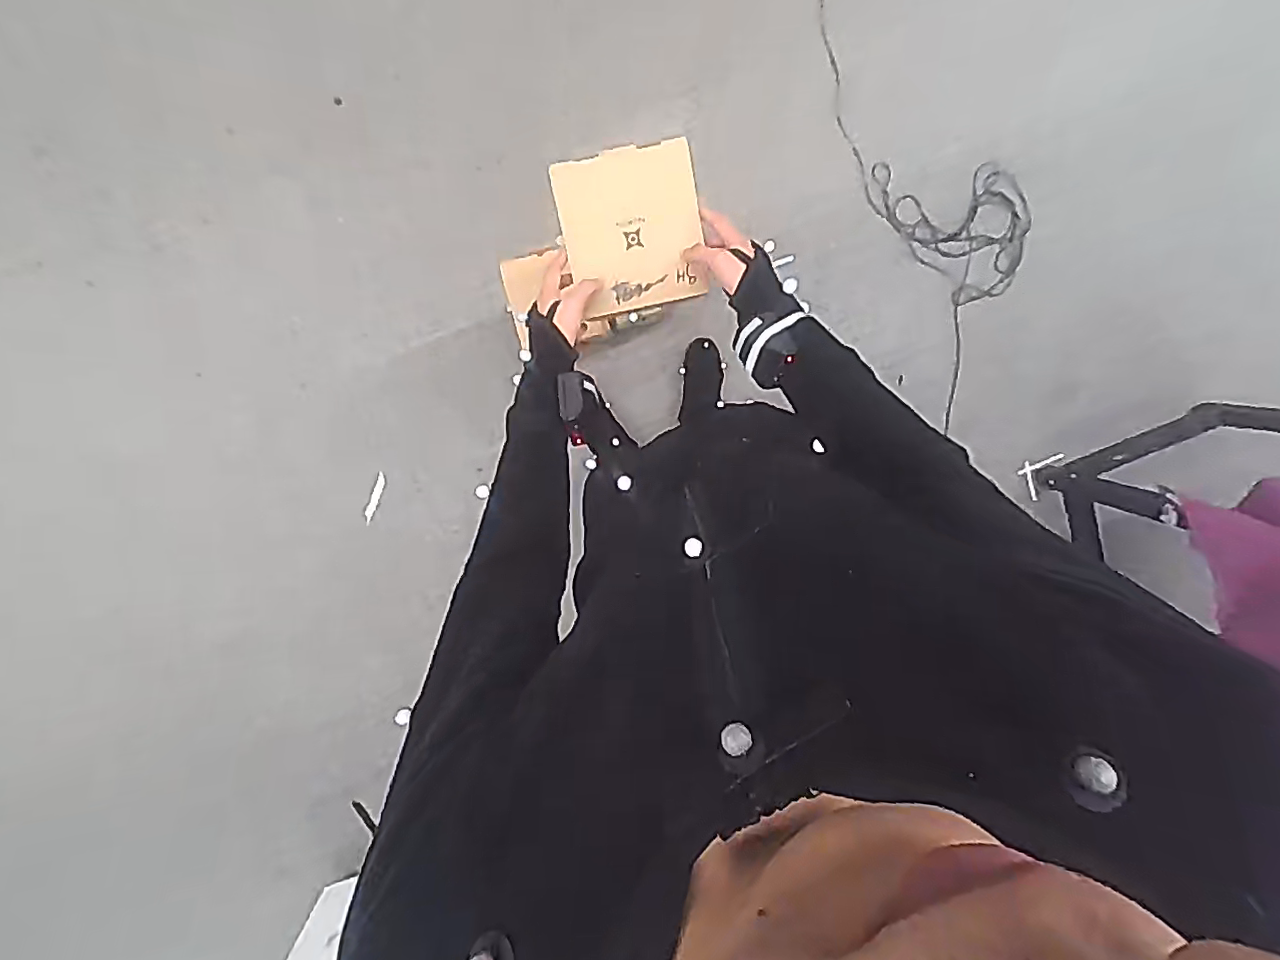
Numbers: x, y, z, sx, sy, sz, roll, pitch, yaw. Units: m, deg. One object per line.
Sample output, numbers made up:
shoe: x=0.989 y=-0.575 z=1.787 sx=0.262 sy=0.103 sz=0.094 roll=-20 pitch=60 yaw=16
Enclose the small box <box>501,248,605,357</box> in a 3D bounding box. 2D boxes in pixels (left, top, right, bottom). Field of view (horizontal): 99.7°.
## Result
small box: x=-0.171 y=-0.358 z=1.119 sx=0.168 sy=0.176 sz=0.179 roll=-14 pitch=103 yaw=1
